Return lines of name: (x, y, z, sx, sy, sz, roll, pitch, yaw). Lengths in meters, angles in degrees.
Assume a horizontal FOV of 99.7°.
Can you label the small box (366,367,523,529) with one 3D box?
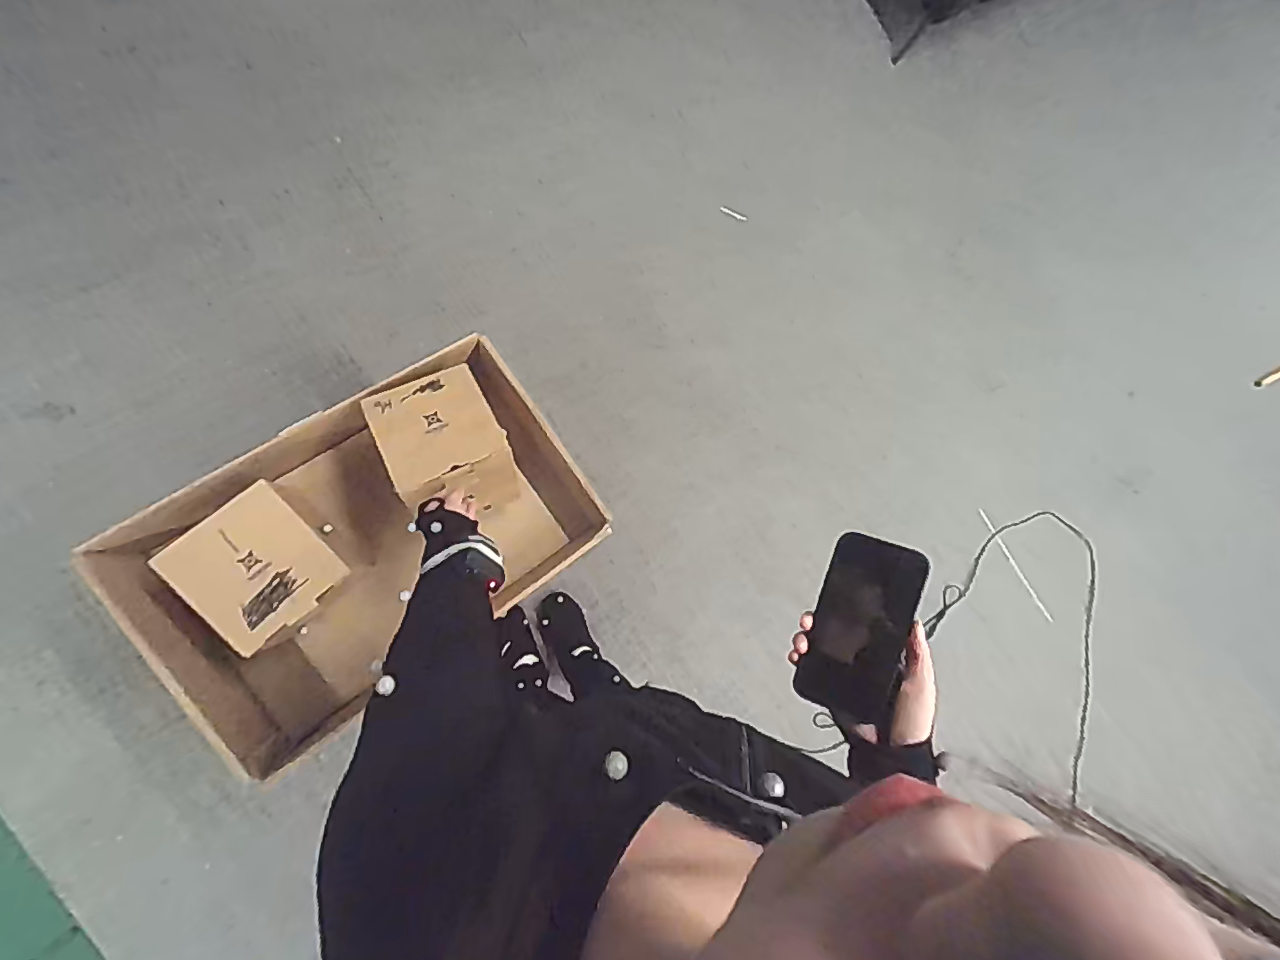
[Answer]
small box: (-0.298, -0.041, 0.857, 0.168, 0.176, 0.179, -24, 67, -17)
